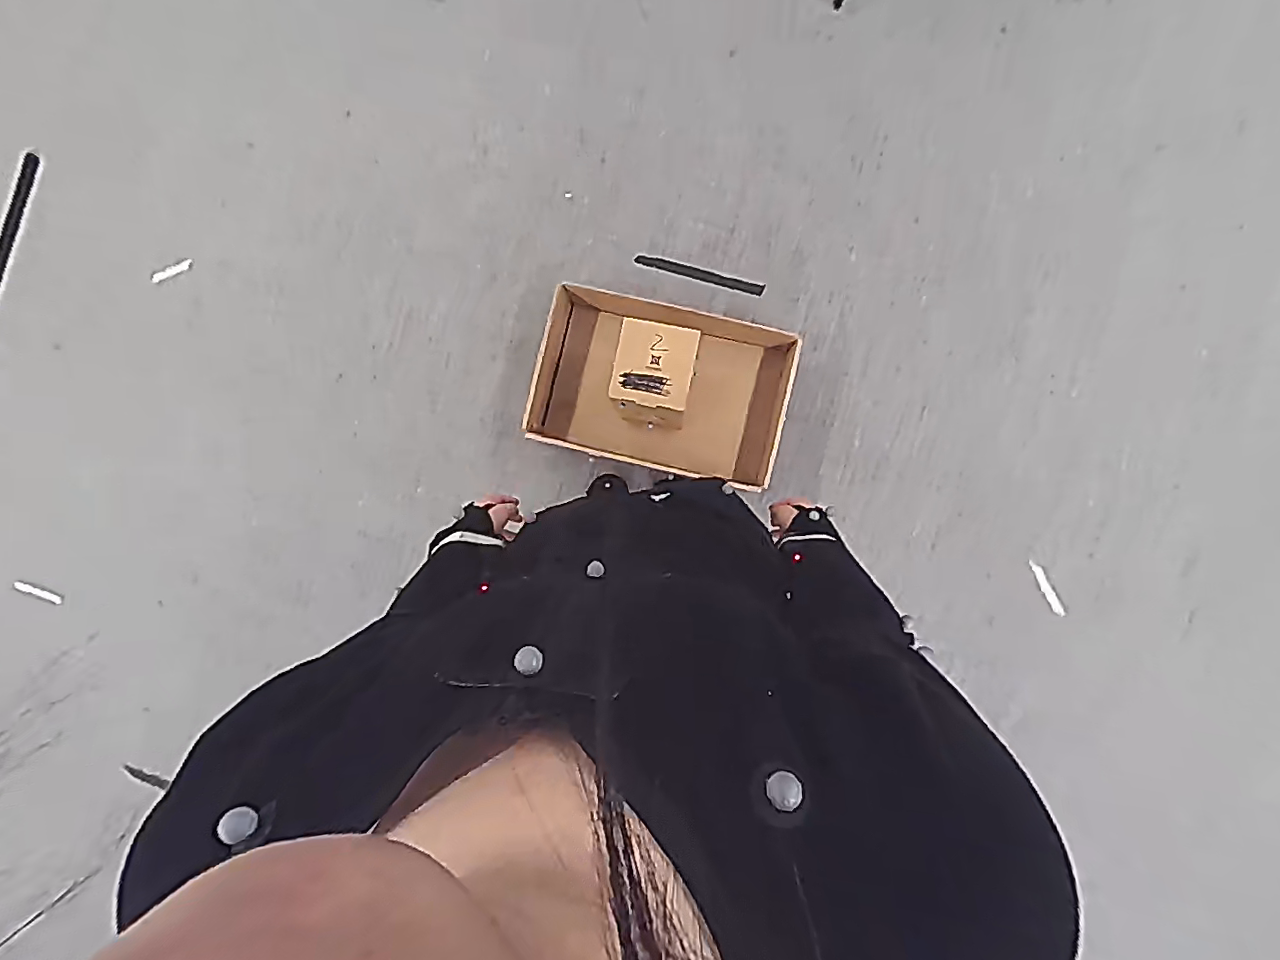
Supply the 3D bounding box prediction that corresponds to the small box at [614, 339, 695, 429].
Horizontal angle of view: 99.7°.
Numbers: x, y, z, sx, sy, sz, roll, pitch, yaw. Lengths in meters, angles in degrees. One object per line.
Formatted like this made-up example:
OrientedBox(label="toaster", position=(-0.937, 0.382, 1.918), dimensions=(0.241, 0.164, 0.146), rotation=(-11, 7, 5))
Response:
OrientedBox(label="small box", position=(0.037, -0.236, 1.367), dimensions=(0.168, 0.176, 0.179), rotation=(12, 90, 3))
